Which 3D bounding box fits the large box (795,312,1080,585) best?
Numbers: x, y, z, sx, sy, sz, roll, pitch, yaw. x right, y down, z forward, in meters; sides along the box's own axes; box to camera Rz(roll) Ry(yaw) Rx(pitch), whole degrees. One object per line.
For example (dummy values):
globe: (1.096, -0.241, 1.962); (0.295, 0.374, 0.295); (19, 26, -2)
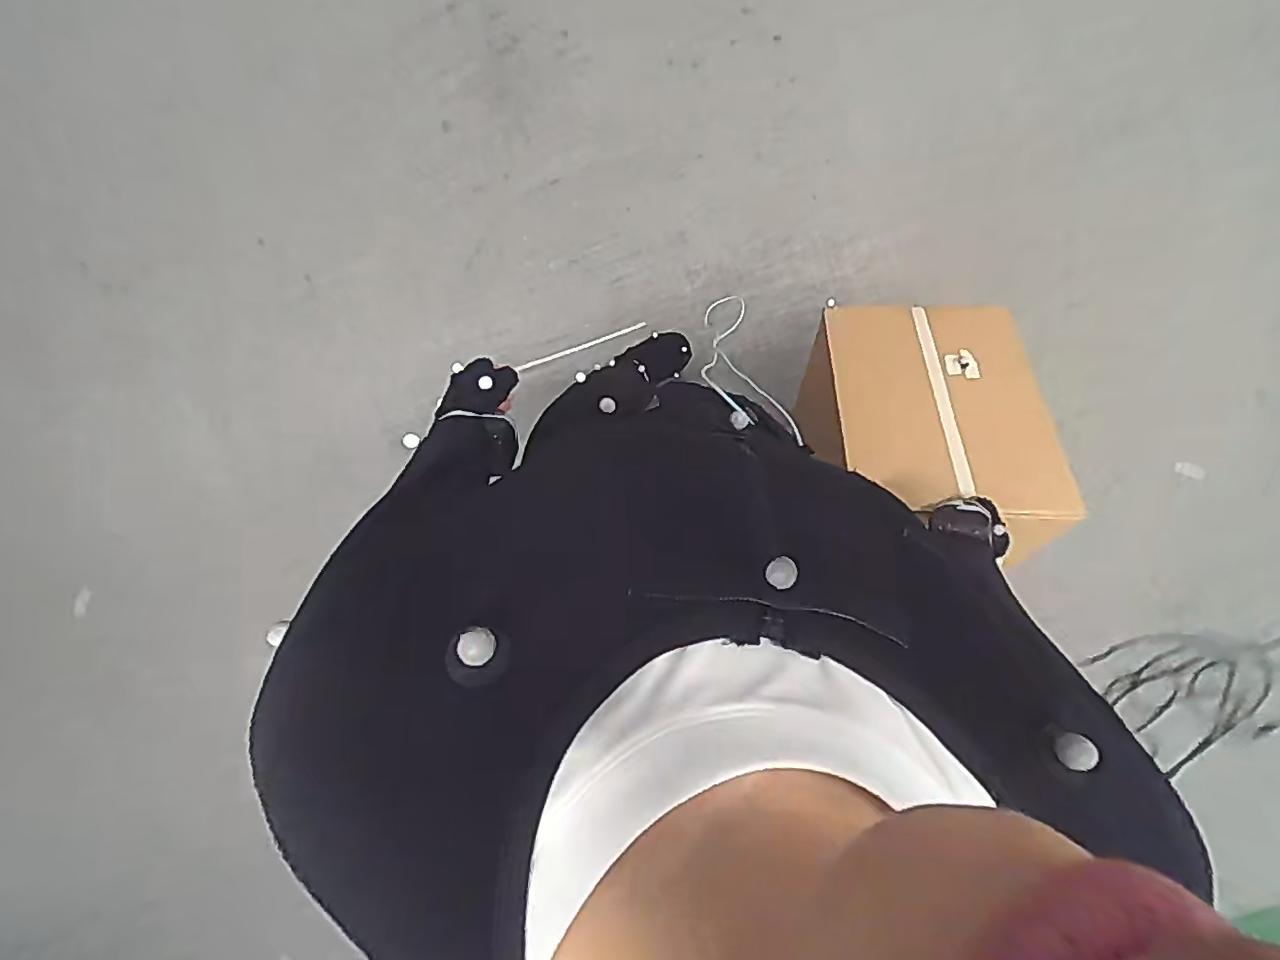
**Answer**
large box: (0.480, -0.046, 0.987); (0.320, 0.320, 0.408); (1, 59, 4)
